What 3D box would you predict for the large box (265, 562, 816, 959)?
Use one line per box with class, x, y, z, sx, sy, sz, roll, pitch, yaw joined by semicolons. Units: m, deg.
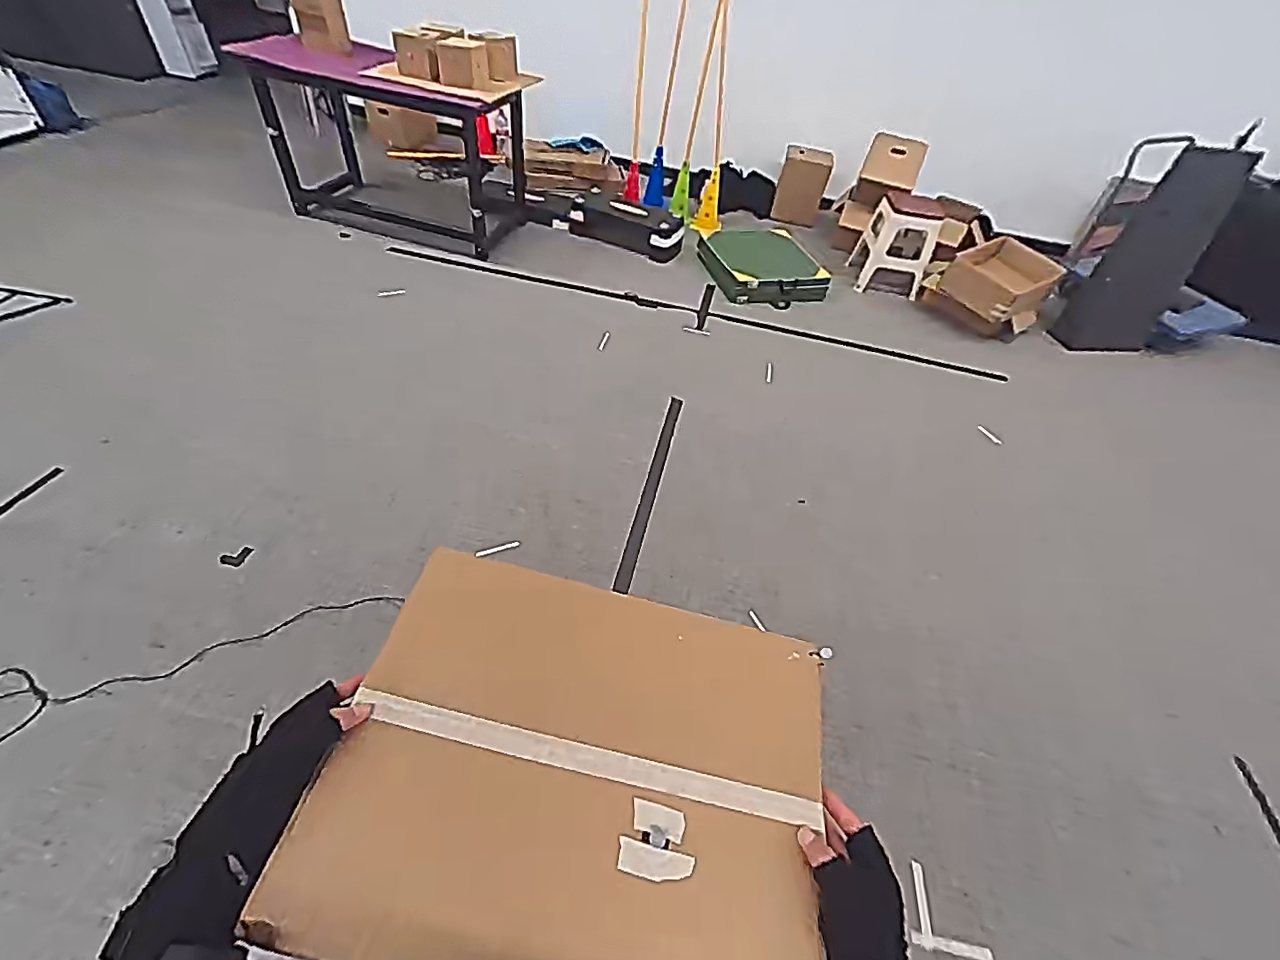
large box;-0.068;0.334;0.582;0.408;0.320;0.320;14;51;-1
